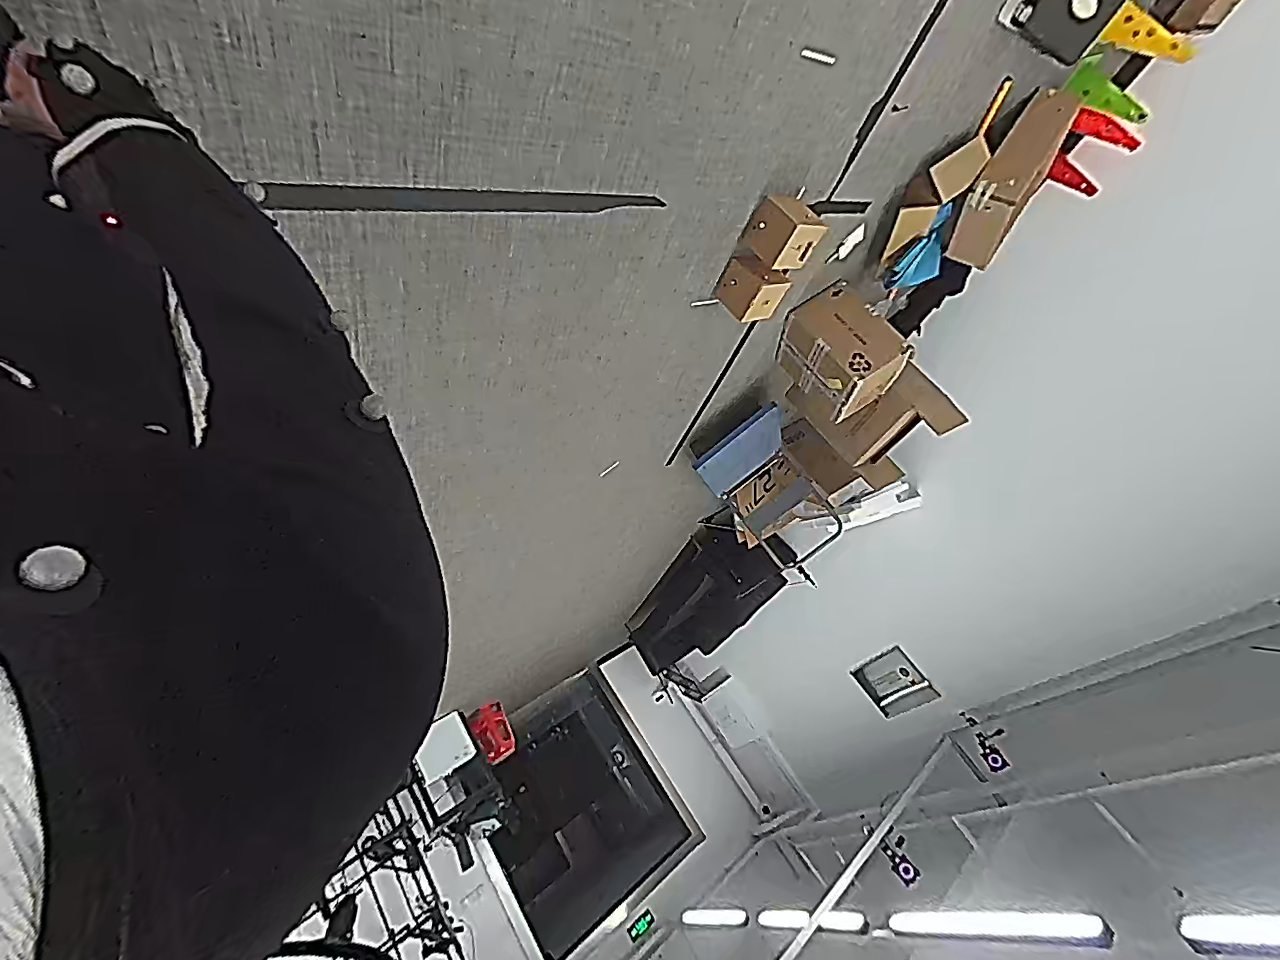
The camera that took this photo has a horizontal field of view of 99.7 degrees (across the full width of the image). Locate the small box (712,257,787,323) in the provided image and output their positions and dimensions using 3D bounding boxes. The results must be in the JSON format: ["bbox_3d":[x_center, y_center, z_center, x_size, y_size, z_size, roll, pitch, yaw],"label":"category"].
[{"bbox_3d":[0.406,-0.717,2.026,0.179,0.176,0.168,-21,155,-36],"label":"small box"}]

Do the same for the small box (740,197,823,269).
[{"bbox_3d":[0.481,-0.847,1.856,0.179,0.176,0.168,-19,154,-38],"label":"small box"}]
